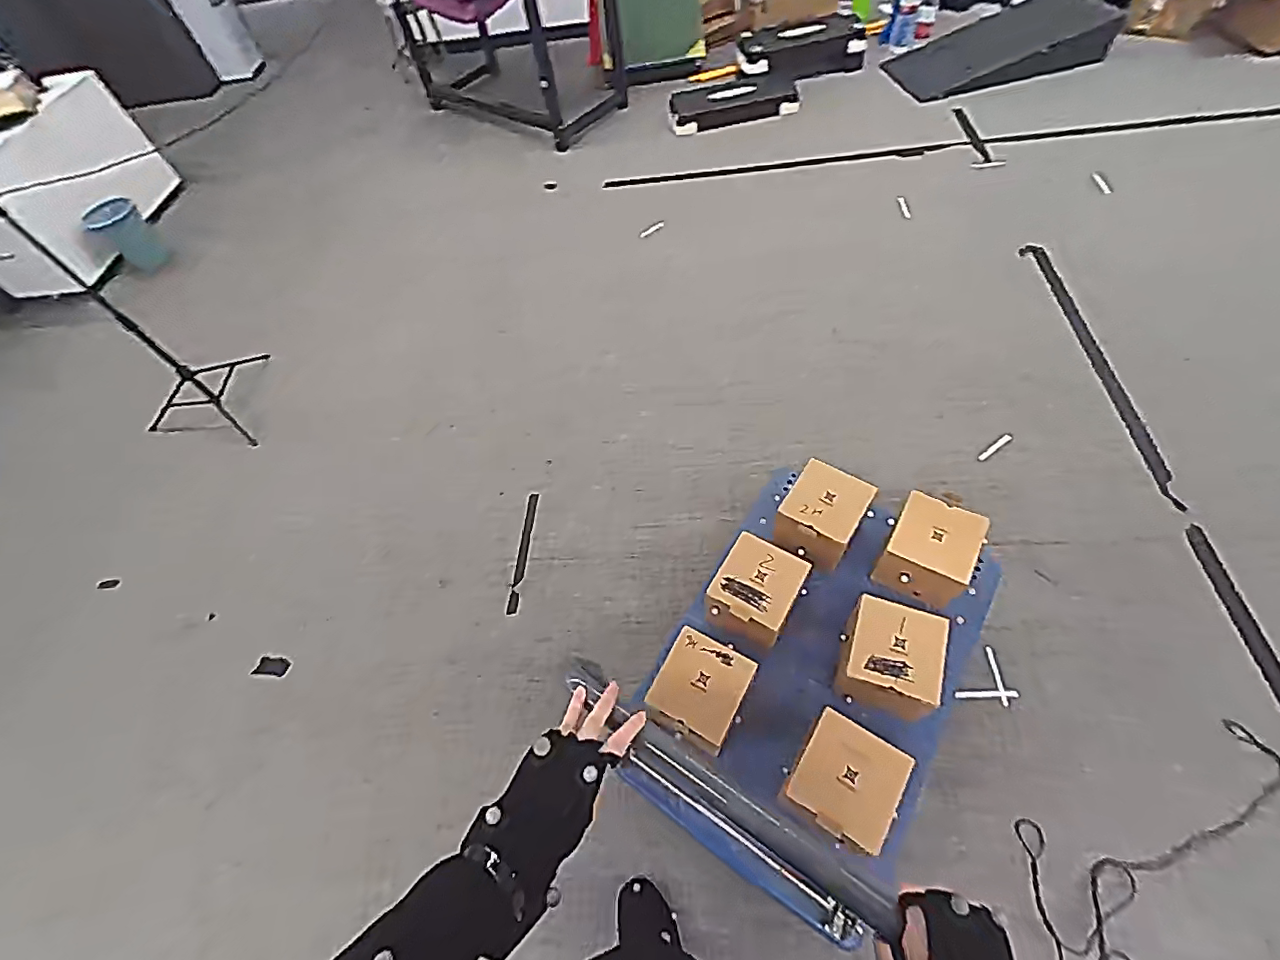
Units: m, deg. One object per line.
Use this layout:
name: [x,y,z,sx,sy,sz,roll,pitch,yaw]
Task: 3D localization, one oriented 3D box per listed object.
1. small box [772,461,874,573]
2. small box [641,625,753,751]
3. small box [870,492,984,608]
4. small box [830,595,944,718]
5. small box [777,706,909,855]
small box: [0.433,0.092,1.306,0.168,0.176,0.179,29,66,24]
small box: [0.123,0.439,1.126,0.168,0.176,0.179,25,64,21]
small box: [0.644,0.166,1.234,0.168,0.176,0.179,25,64,21]
small box: [0.504,0.370,1.120,0.168,0.176,0.179,16,60,17]
small box: [0.370,0.564,1.015,0.168,0.176,0.179,28,64,23]
